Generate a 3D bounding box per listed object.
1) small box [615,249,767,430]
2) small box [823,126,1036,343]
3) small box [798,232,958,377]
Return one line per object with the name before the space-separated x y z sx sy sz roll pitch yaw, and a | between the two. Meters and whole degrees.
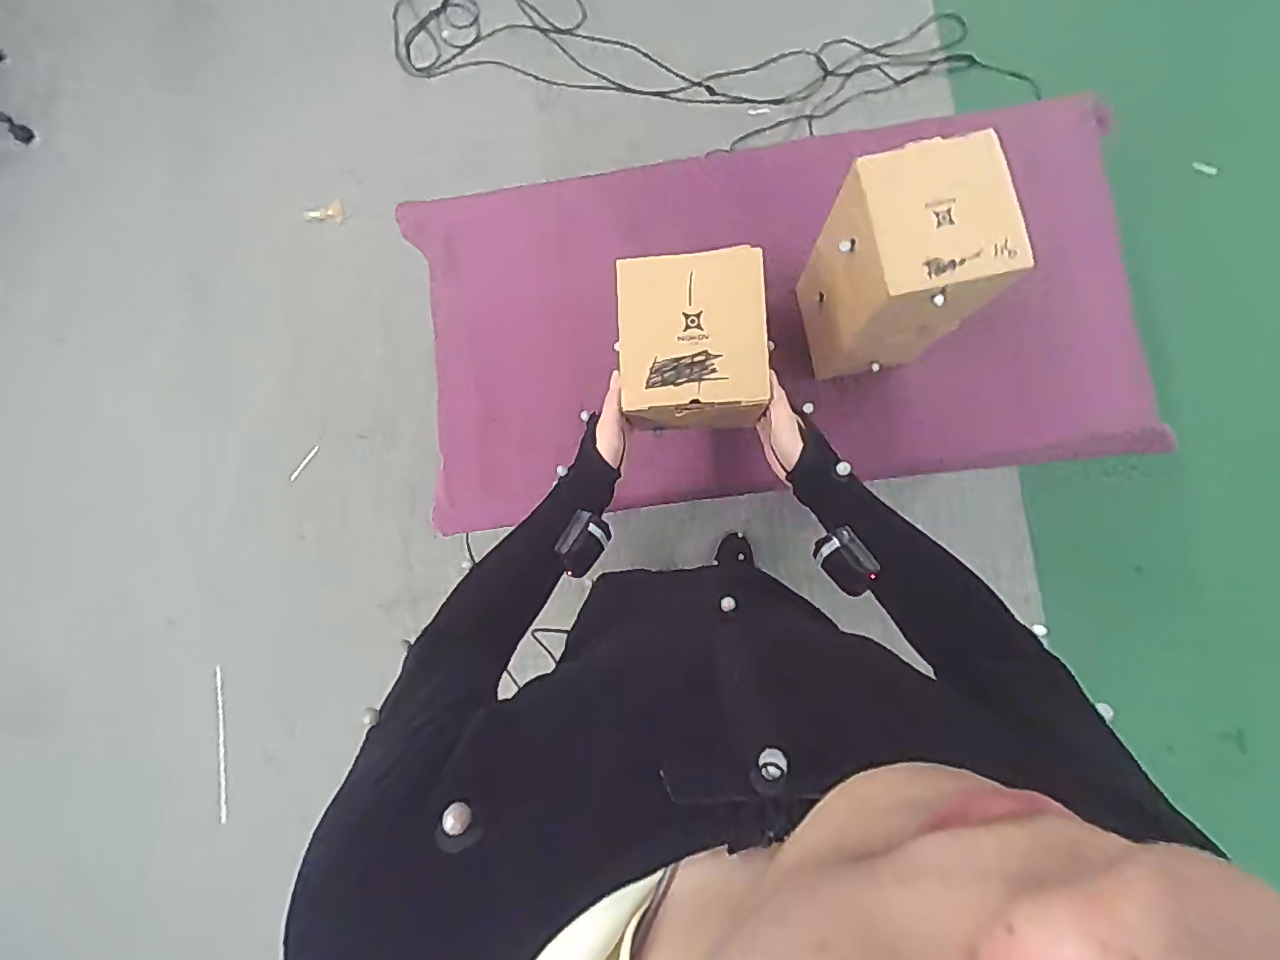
small box | 0.063 -0.158 0.670 0.168 0.176 0.179 -2 85 5
small box | 0.350 -0.300 0.693 0.168 0.176 0.179 -11 82 3
small box | 0.361 -0.282 0.856 0.168 0.176 0.179 -11 84 3
